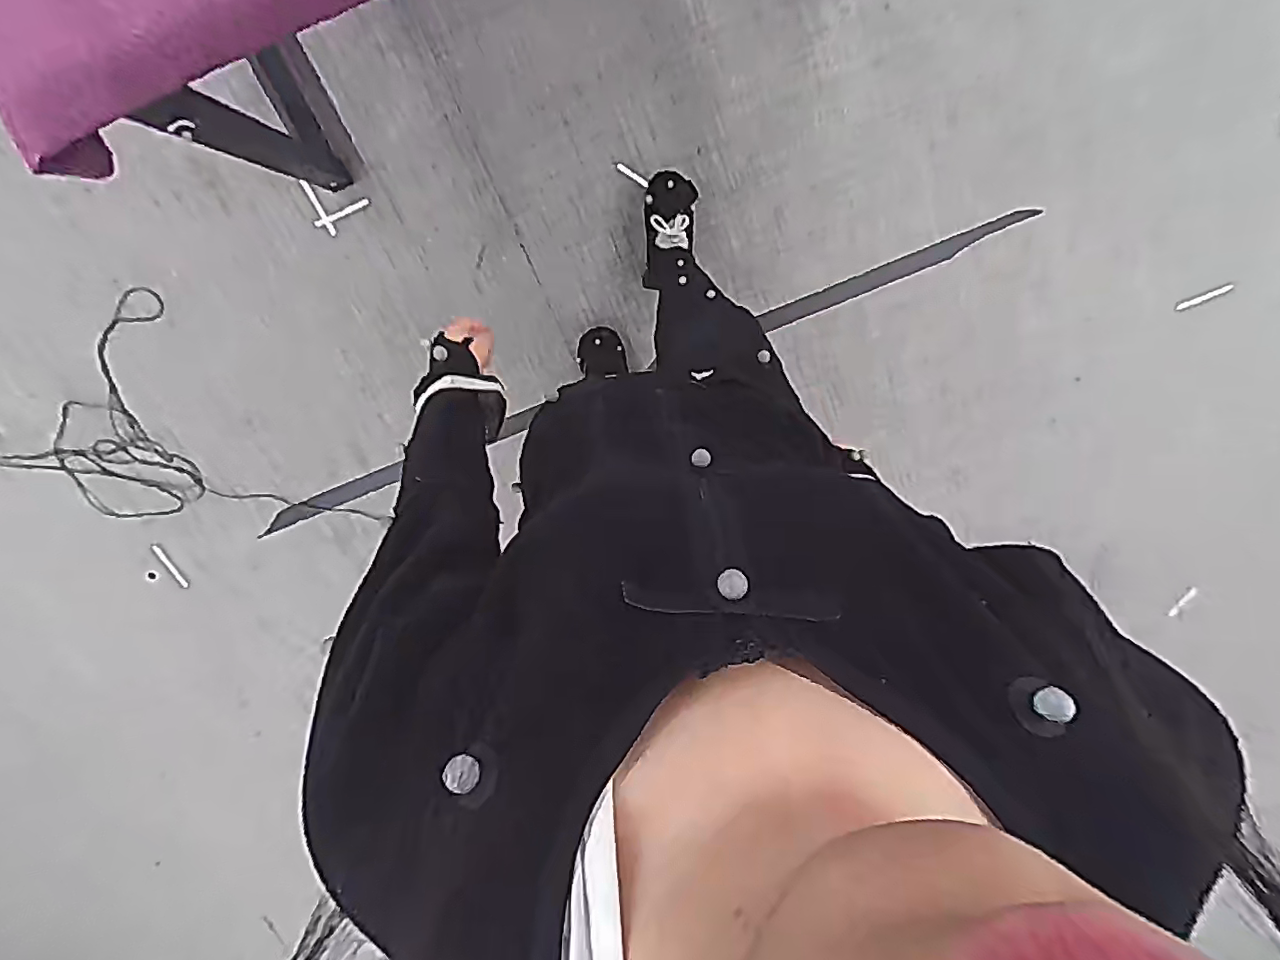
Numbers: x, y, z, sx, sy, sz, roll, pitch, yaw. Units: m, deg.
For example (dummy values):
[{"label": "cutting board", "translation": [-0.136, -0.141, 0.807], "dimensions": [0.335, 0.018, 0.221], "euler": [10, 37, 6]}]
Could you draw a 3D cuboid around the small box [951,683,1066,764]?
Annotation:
[{"label": "small box", "translation": [1.051, 0.718, 1.560], "dimensions": [0.179, 0.176, 0.168], "euler": [26, 106, -13]}]
